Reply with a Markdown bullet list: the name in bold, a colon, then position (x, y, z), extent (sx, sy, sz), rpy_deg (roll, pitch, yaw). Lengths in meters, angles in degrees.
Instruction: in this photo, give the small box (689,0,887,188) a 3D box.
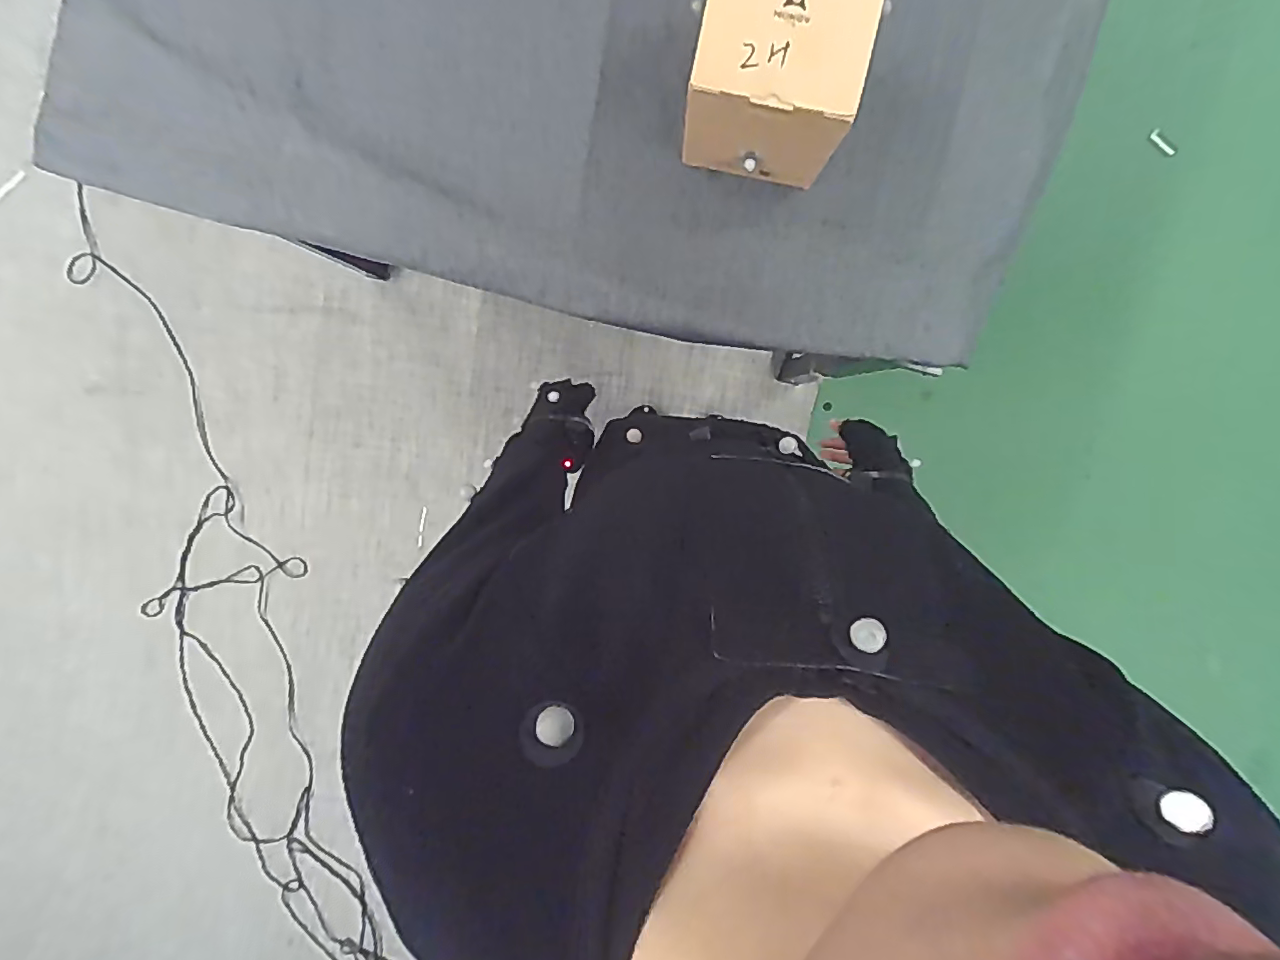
- **small box**: position (0.151, -0.458, 0.592), extent (0.168, 0.176, 0.179), rpy_deg (13, 97, 1)
